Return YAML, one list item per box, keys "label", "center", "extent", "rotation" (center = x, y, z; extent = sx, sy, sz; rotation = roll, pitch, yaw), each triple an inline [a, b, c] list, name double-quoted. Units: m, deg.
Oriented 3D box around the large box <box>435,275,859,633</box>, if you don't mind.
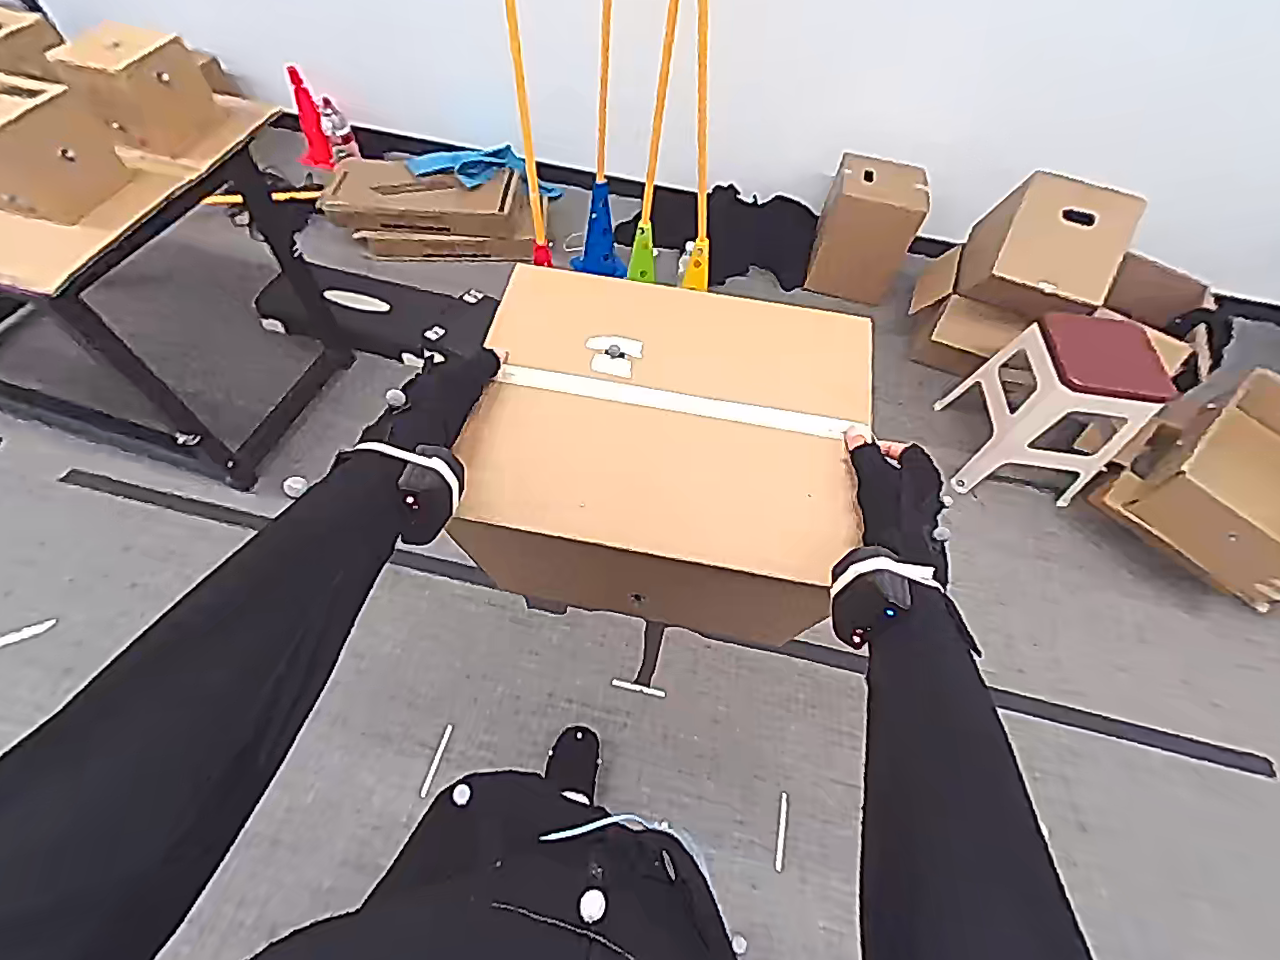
- label: "large box"
  center: [0.027, -0.012, 0.696]
  extent: [0.408, 0.320, 0.320]
  rotation: [11, 64, 5]
